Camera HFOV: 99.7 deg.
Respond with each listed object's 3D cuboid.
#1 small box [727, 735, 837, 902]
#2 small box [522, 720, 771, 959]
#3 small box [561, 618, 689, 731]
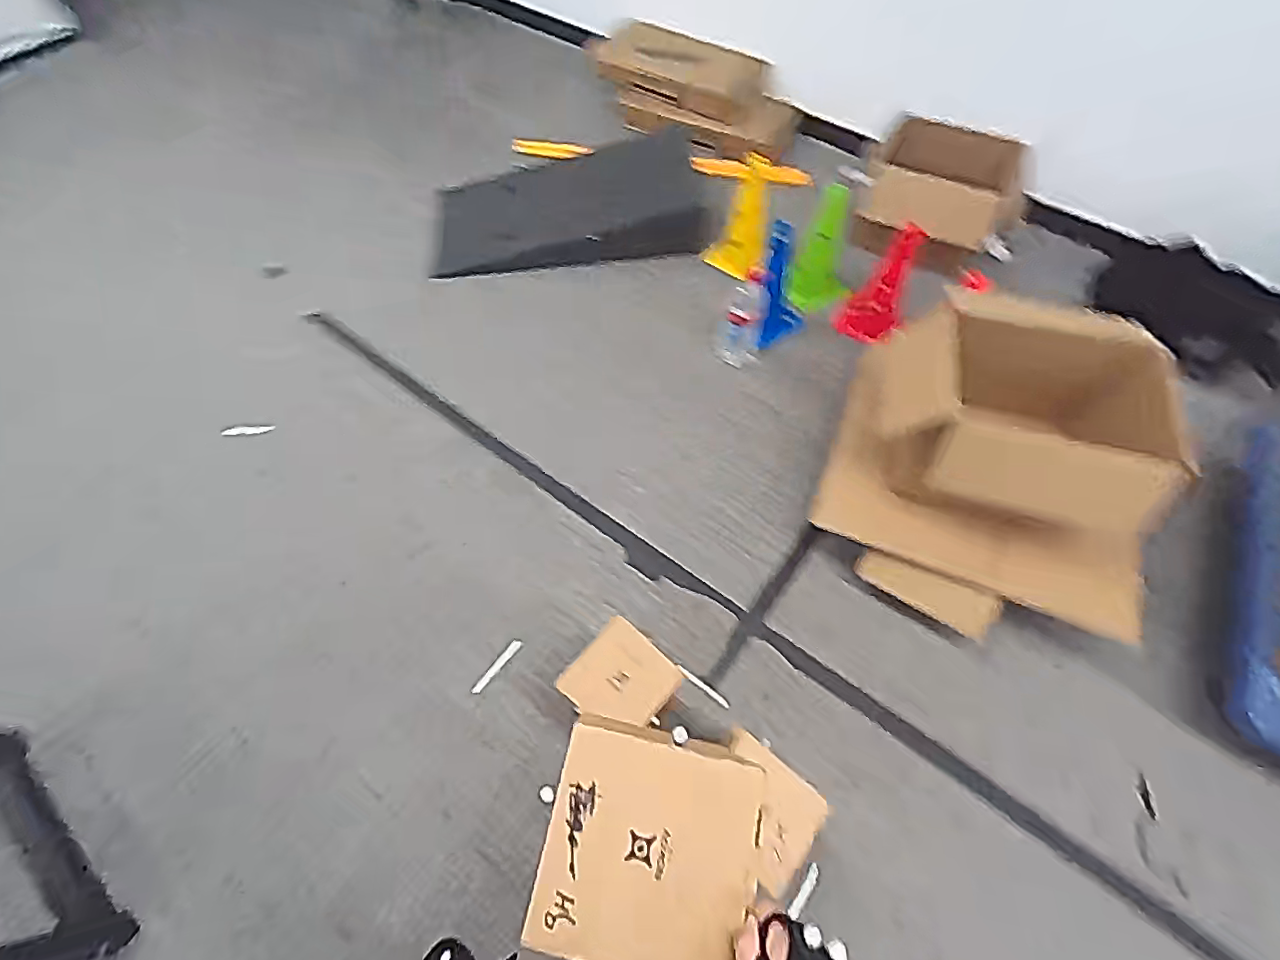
[{"bbox_3d":[0.202,0.577,0.941,0.179,0.176,0.168,37,69,17],"label":"small box"},{"bbox_3d":[0.005,0.335,0.513,0.179,0.176,0.168,13,69,0],"label":"small box"},{"bbox_3d":[-0.027,0.402,1.040,0.168,0.176,0.179,40,68,17],"label":"small box"}]
